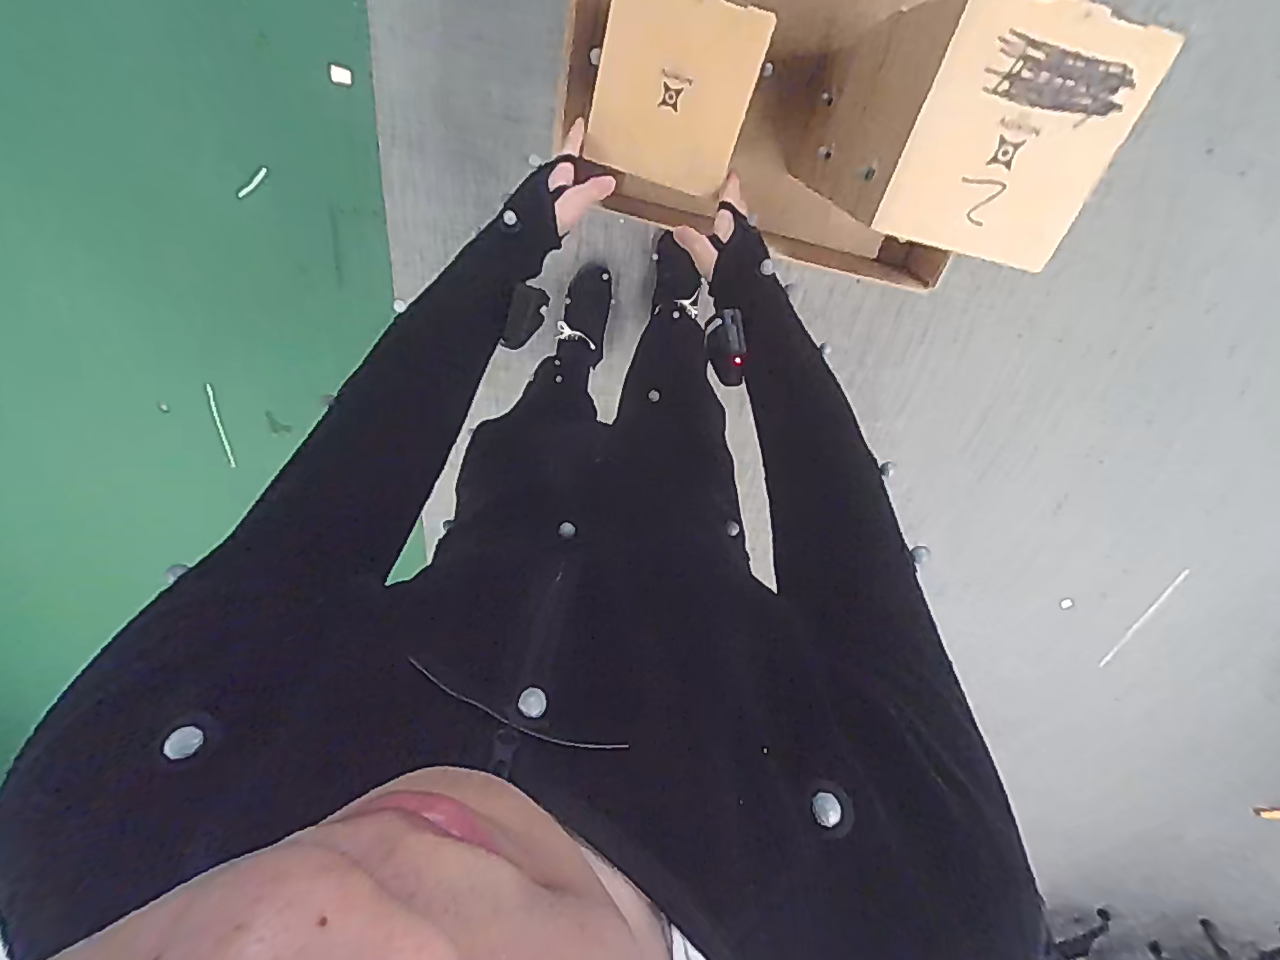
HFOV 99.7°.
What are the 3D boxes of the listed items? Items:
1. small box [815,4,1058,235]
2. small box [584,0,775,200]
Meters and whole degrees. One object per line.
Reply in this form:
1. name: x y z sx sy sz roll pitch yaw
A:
1. small box: 0.321 -0.413 0.637 0.168 0.176 0.179 13 124 -3
2. small box: 0.045 -0.459 0.642 0.168 0.176 0.179 16 123 -4
